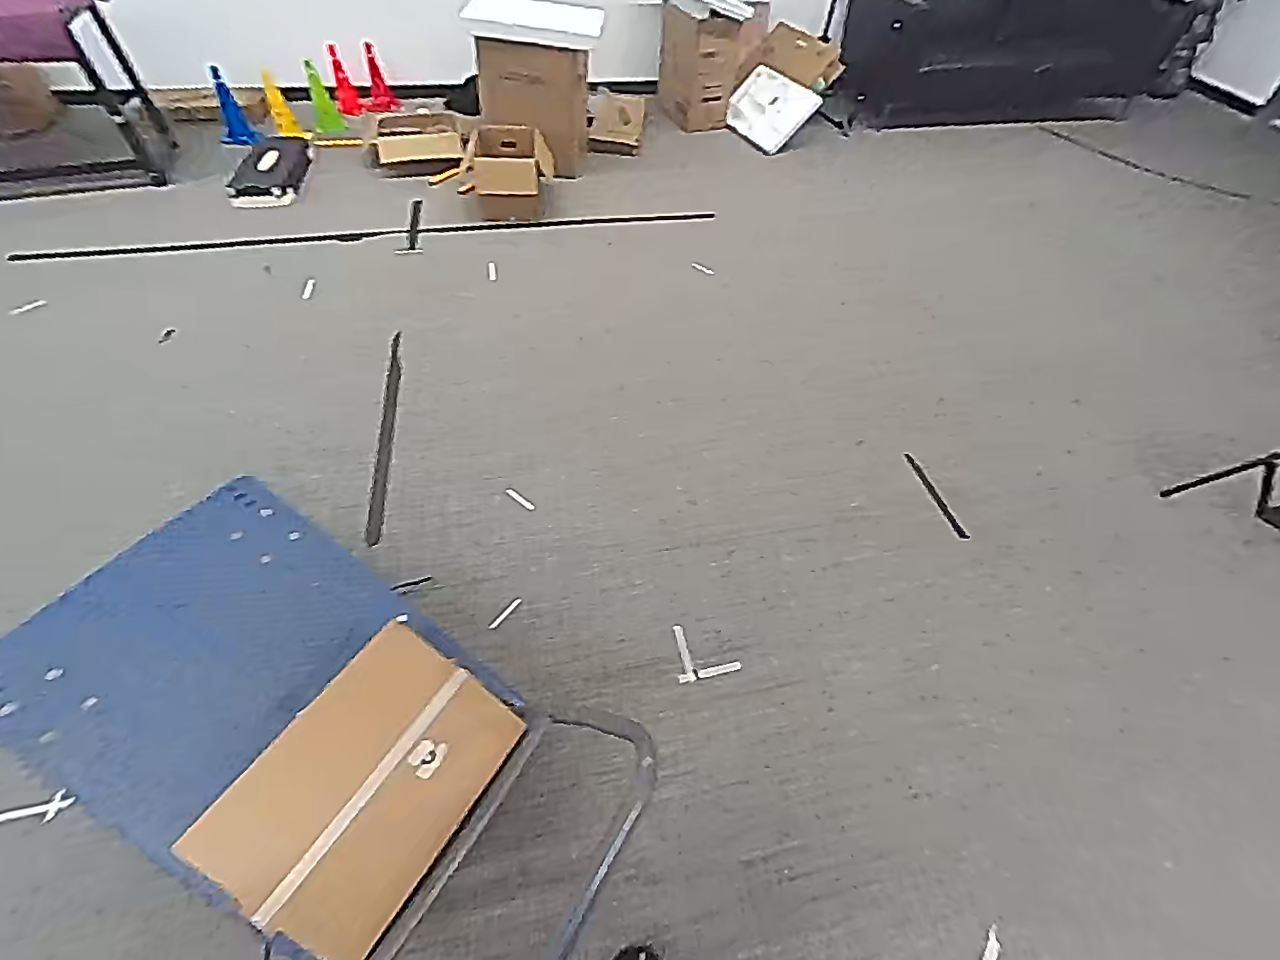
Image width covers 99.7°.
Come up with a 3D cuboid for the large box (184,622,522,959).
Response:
[{"bbox_3d":[-0.489,0.541,0.993,0.320,0.320,0.408,41,55,-6],"label":"large box"}]
